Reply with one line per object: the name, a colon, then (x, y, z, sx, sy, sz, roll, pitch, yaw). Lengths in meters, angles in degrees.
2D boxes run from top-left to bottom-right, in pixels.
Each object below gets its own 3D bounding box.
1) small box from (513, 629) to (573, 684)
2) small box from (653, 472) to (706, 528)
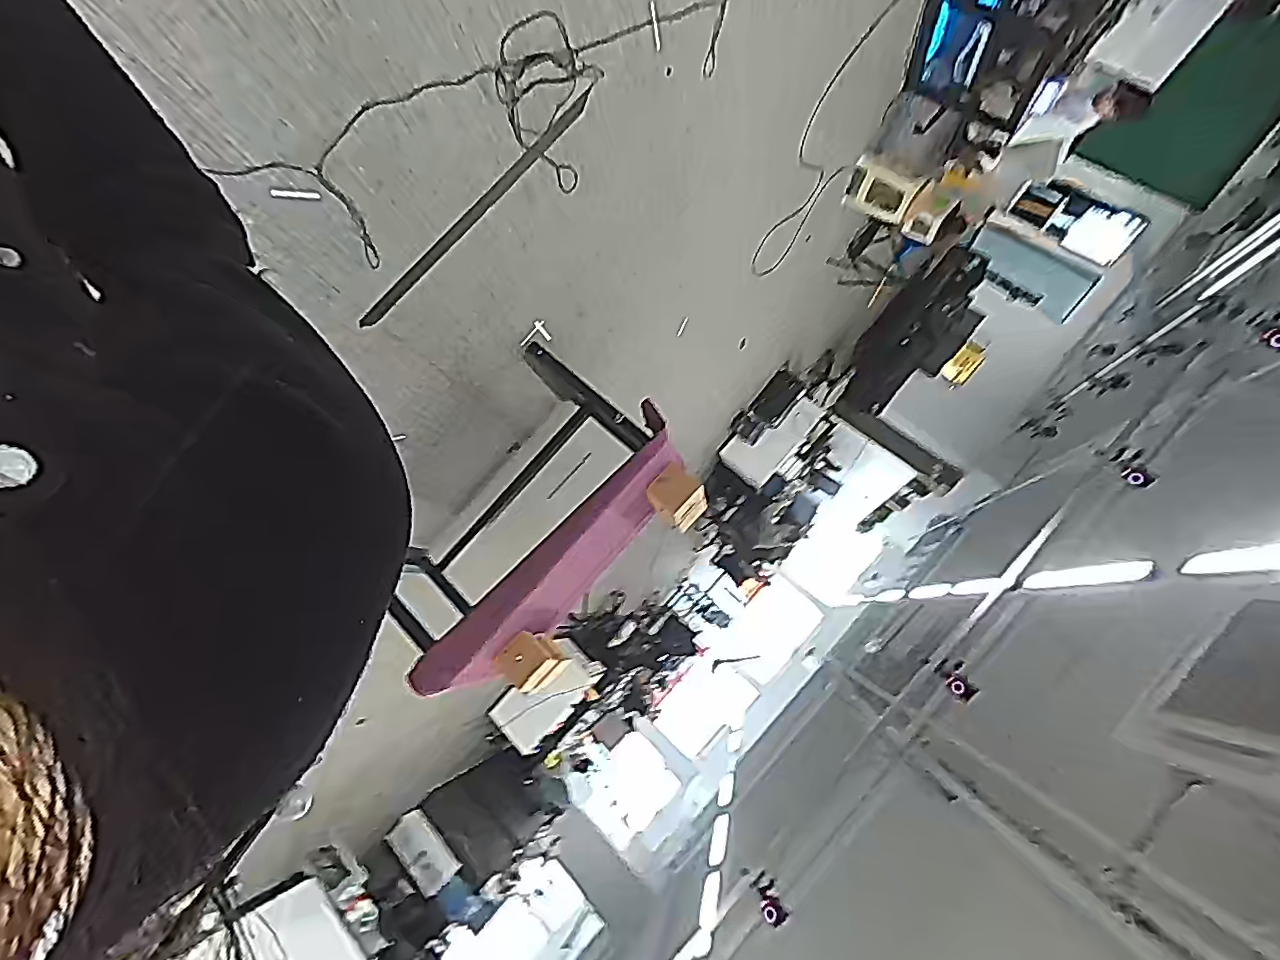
small box: (-0.427, 0.776, 2.392, 0.168, 0.176, 0.179, -47, 163, -6)
small box: (0.180, 0.088, 2.441, 0.168, 0.176, 0.179, -48, 161, -7)
